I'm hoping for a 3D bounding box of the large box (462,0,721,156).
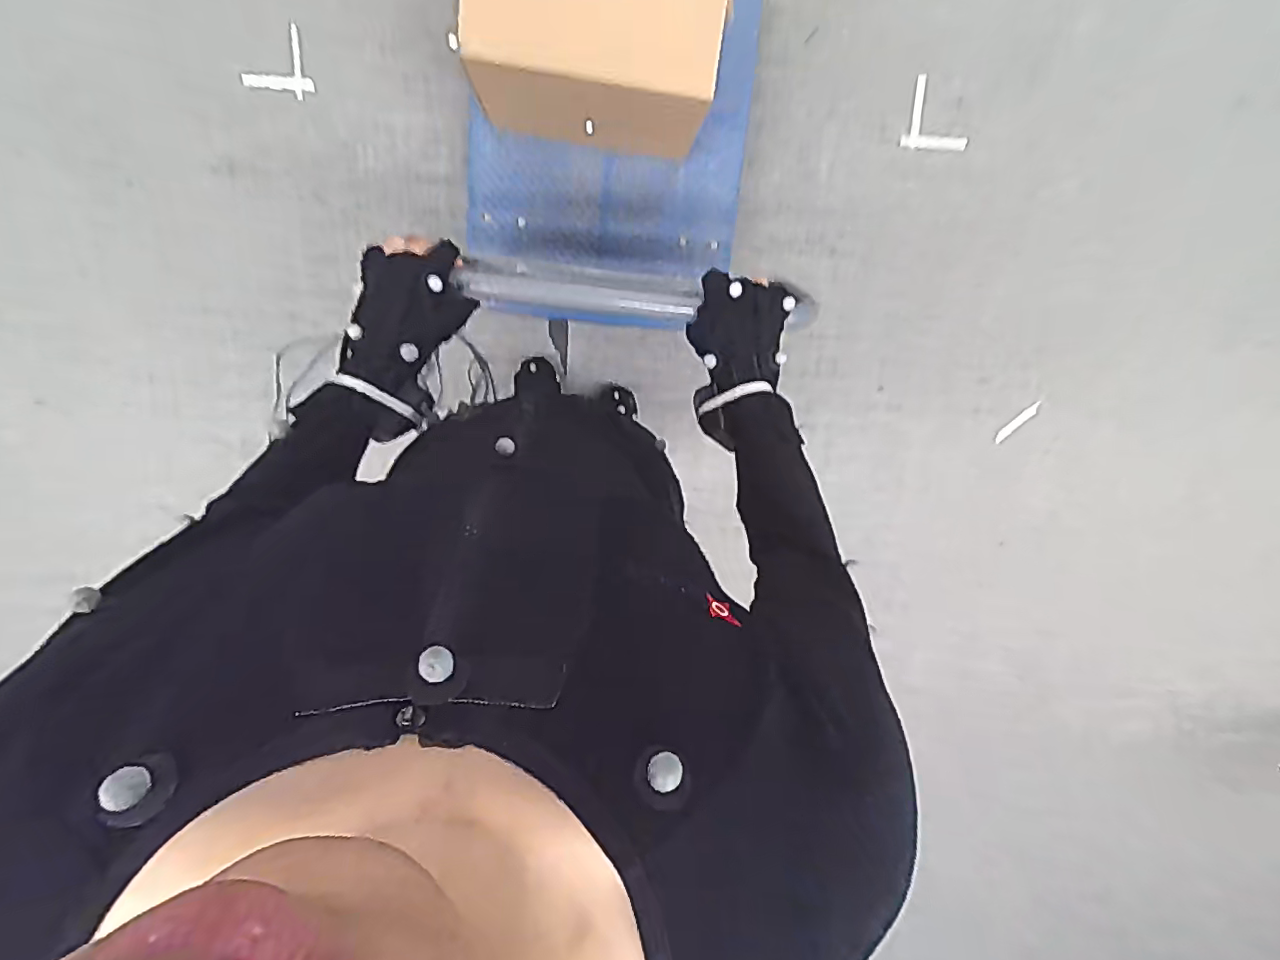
[{"bbox_3d":[-0.074,-0.820,0.971,0.408,0.320,0.320,6,103,-5],"label":"large box"}]
